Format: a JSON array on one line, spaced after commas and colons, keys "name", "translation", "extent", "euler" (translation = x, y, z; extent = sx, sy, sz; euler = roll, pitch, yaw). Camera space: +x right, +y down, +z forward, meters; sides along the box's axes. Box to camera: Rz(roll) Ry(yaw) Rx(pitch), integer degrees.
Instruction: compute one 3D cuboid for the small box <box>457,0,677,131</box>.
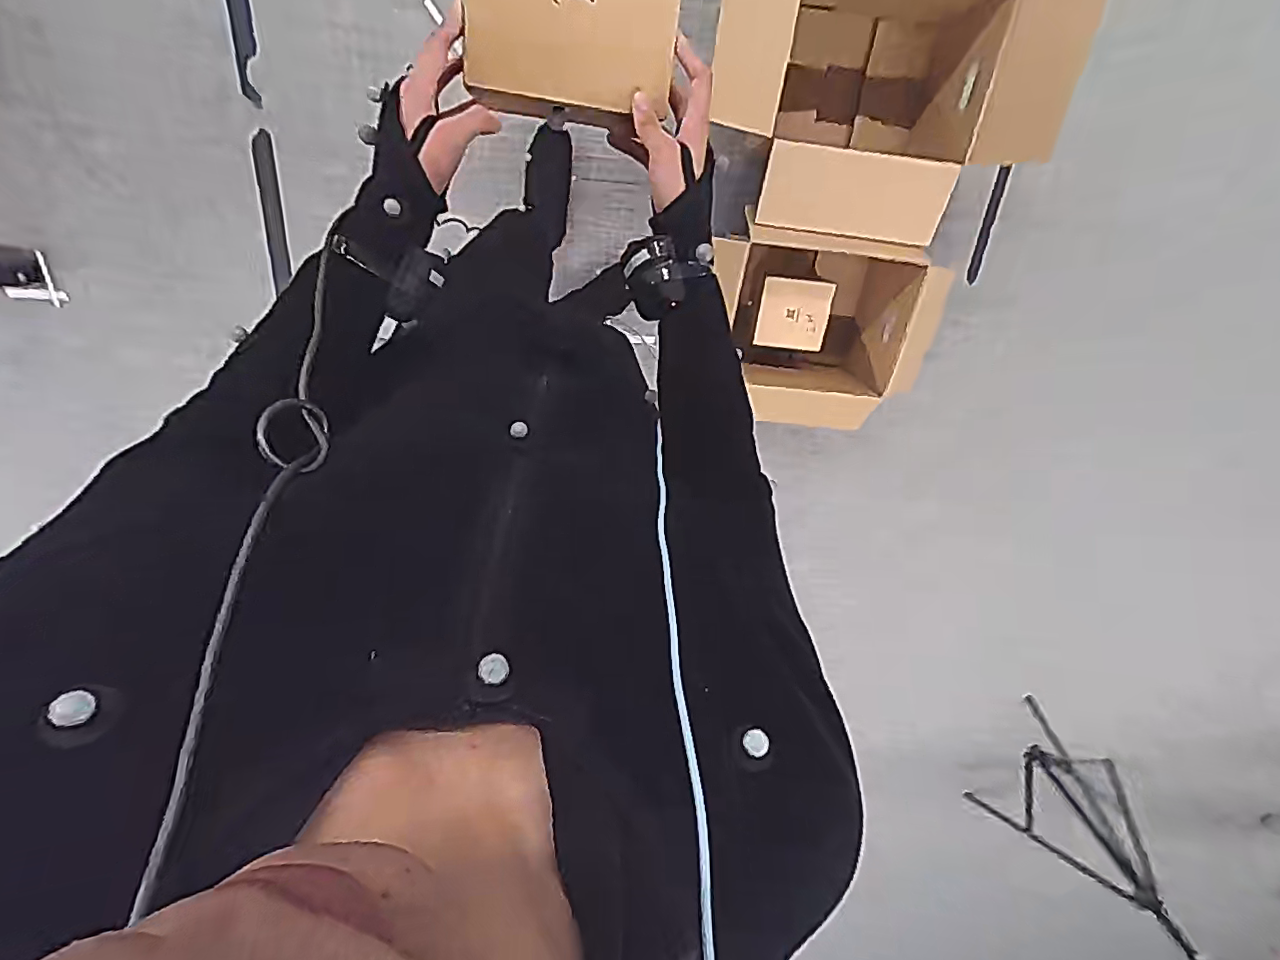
[{"name": "small box", "translation": [-0.068, -0.429, 0.493], "extent": [0.179, 0.176, 0.168], "euler": [2, 119, -11]}]
